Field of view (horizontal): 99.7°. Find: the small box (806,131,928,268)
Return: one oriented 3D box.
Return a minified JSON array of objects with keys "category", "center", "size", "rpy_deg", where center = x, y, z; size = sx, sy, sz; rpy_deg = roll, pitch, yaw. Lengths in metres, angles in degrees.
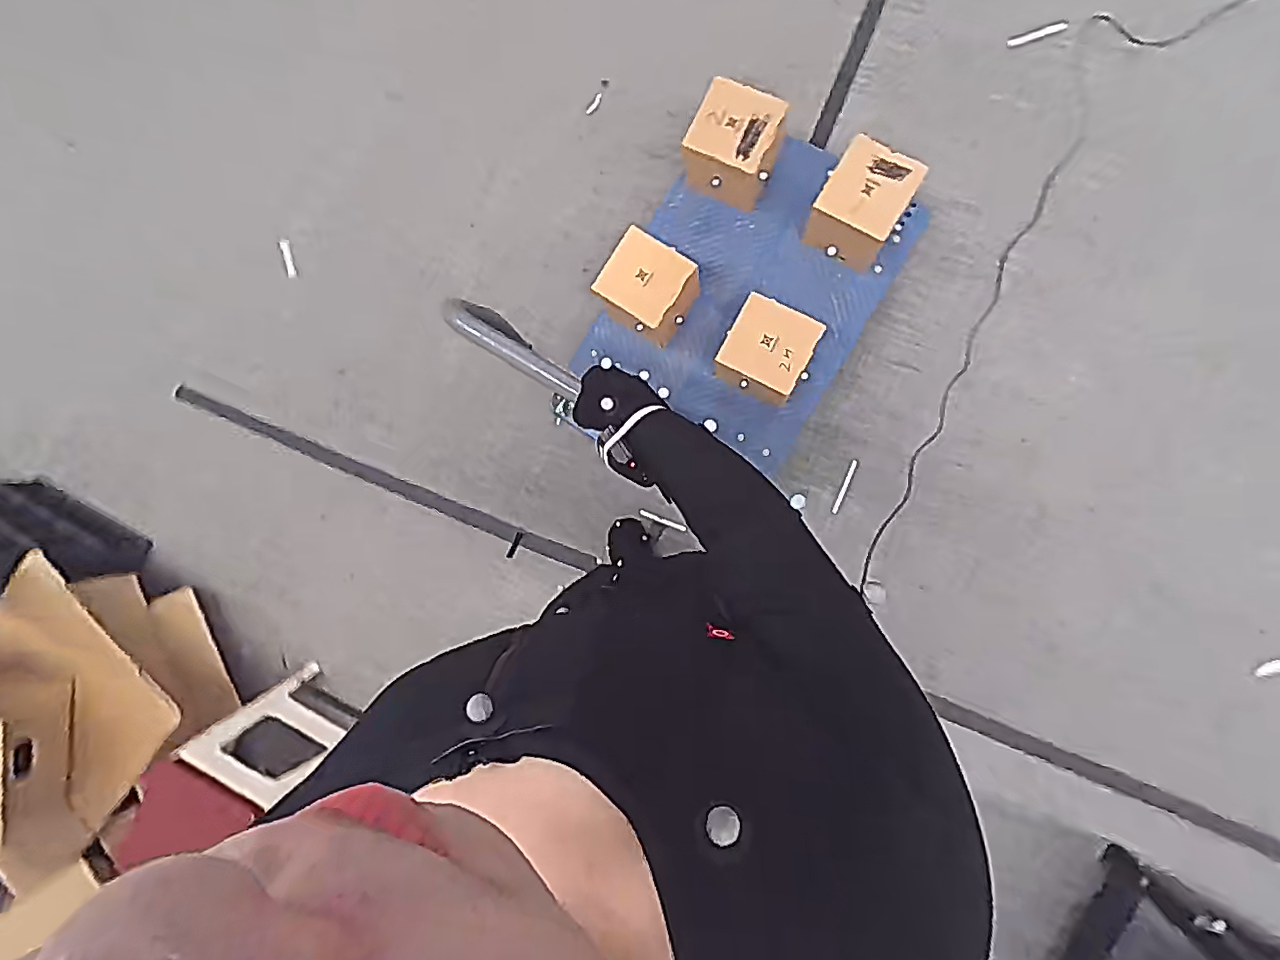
[{"category":"small box","center":[0.483,-0.604,1.186],"size":[0.168,0.176,0.179],"rpy_deg":[32,94,8]}]

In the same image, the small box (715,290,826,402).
[{"category":"small box","center":[0.283,-0.289,1.208],"size":[0.179,0.176,0.168],"rpy_deg":[29,93,8]}]

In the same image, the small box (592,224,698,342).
[{"category":"small box","center":[0.018,-0.444,1.252],"size":[0.179,0.176,0.168],"rpy_deg":[34,93,6]}]
